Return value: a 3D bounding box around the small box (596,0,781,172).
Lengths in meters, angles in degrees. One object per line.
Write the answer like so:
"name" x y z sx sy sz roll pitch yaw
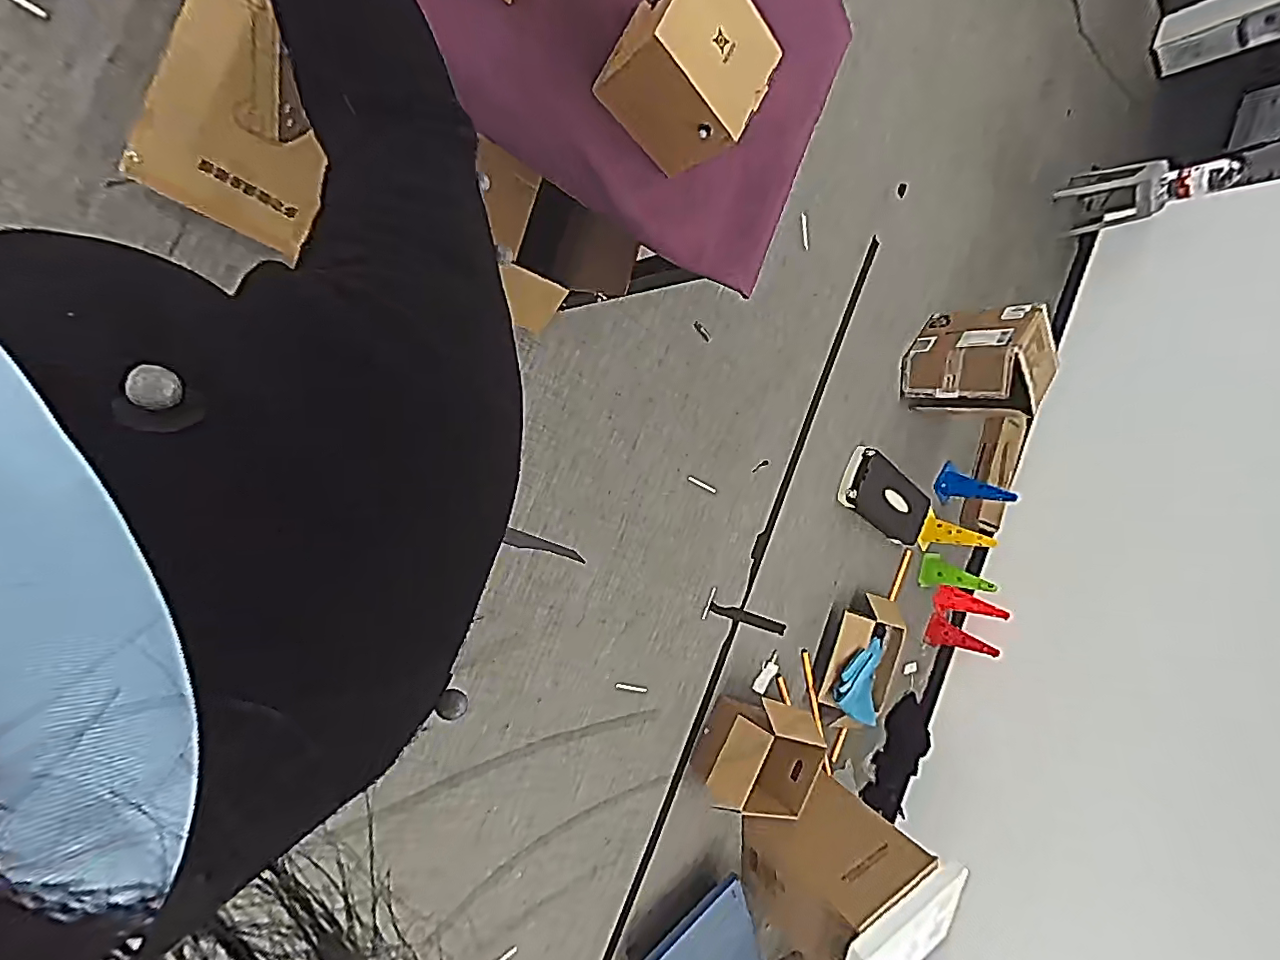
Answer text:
"small box" 0.066 -0.595 0.792 0.179 0.176 0.168 31 81 -36
